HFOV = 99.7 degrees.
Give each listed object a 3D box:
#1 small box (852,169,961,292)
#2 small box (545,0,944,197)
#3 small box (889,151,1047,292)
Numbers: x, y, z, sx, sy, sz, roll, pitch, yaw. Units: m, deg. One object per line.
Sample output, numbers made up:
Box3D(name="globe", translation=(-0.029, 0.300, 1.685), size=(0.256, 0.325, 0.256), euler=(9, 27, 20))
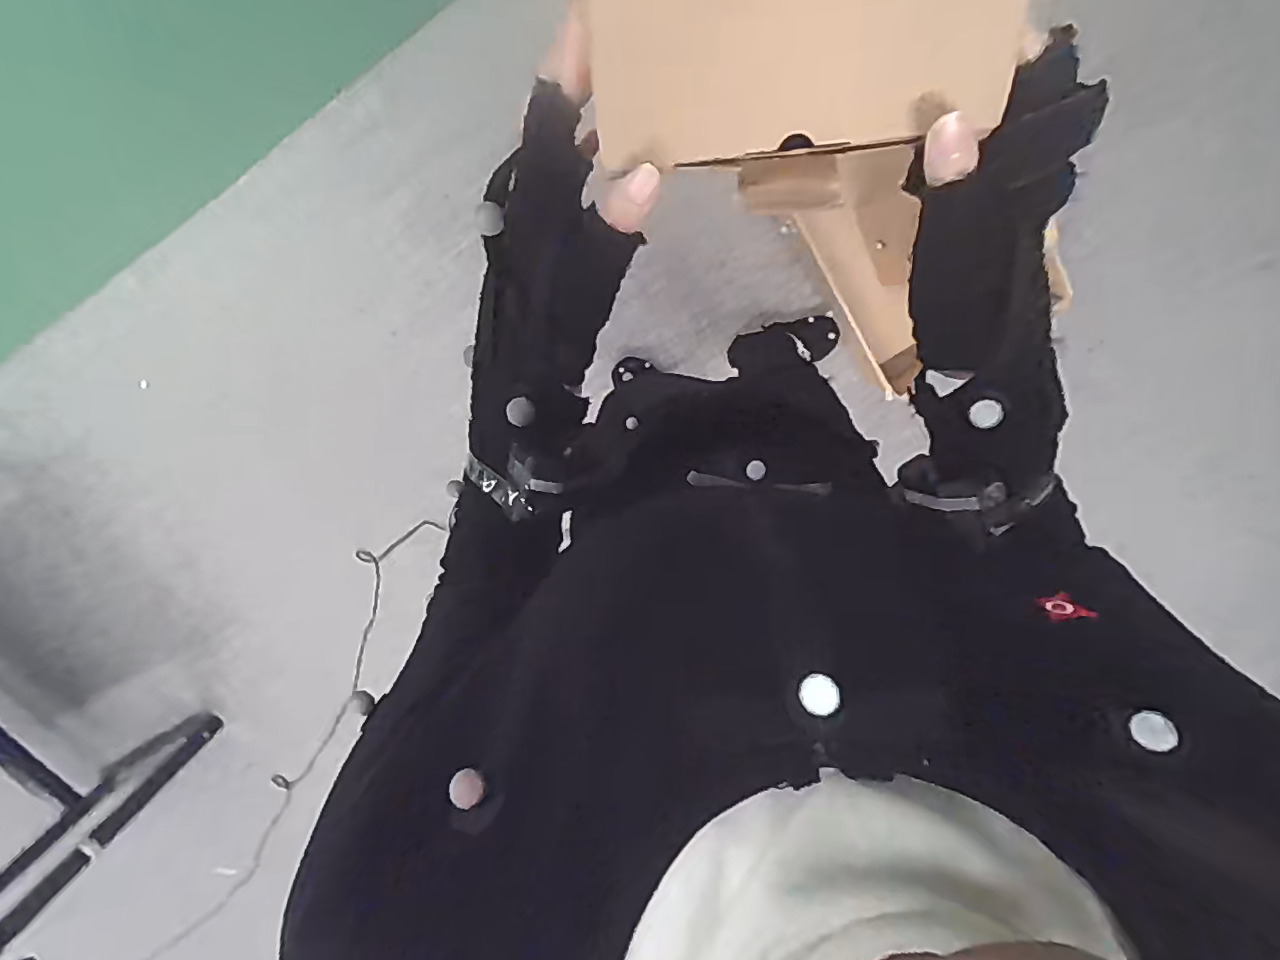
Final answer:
Box3D(name="small box", translation=(0.574, -0.514, 1.141), size=(0.168, 0.176, 0.179), euler=(-25, 104, 10))
Box3D(name="small box", translation=(0.042, -0.260, 0.279), size=(0.168, 0.176, 0.179), euler=(-6, 120, 6))
Box3D(name="small box", translation=(0.575, -0.451, 0.974), size=(0.179, 0.176, 0.168), euler=(-24, 108, 8))
